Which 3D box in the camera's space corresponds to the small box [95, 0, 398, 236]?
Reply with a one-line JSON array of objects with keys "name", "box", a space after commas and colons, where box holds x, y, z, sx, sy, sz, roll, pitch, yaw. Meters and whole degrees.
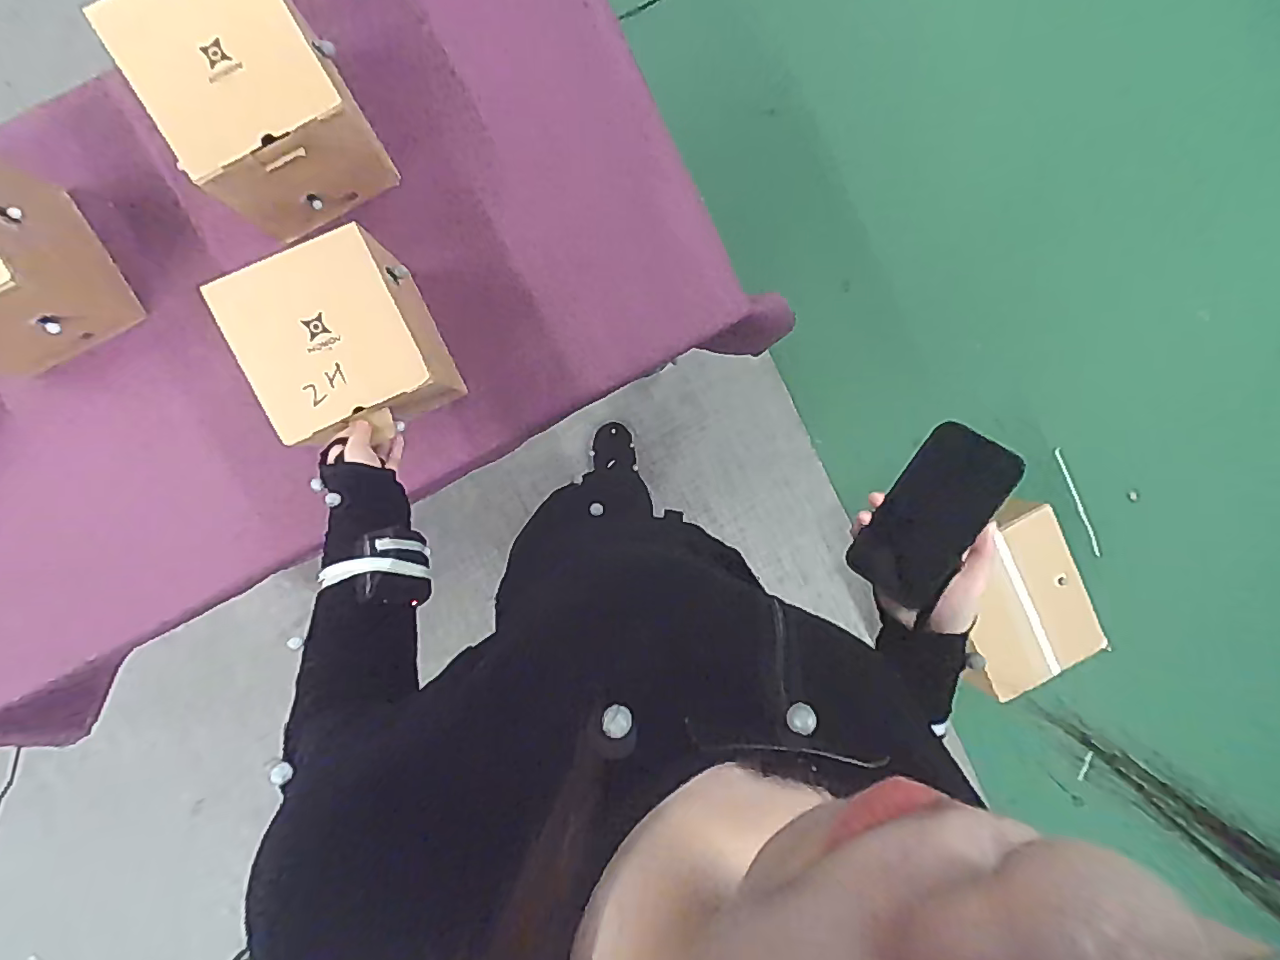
[{"name": "small box", "box": [-0.406, -0.409, 0.596, 0.168, 0.176, 0.179, -30, 98, -2]}]

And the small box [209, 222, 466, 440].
[{"name": "small box", "box": [-0.326, -0.155, 0.625, 0.168, 0.176, 0.179, -25, 97, -2]}]
